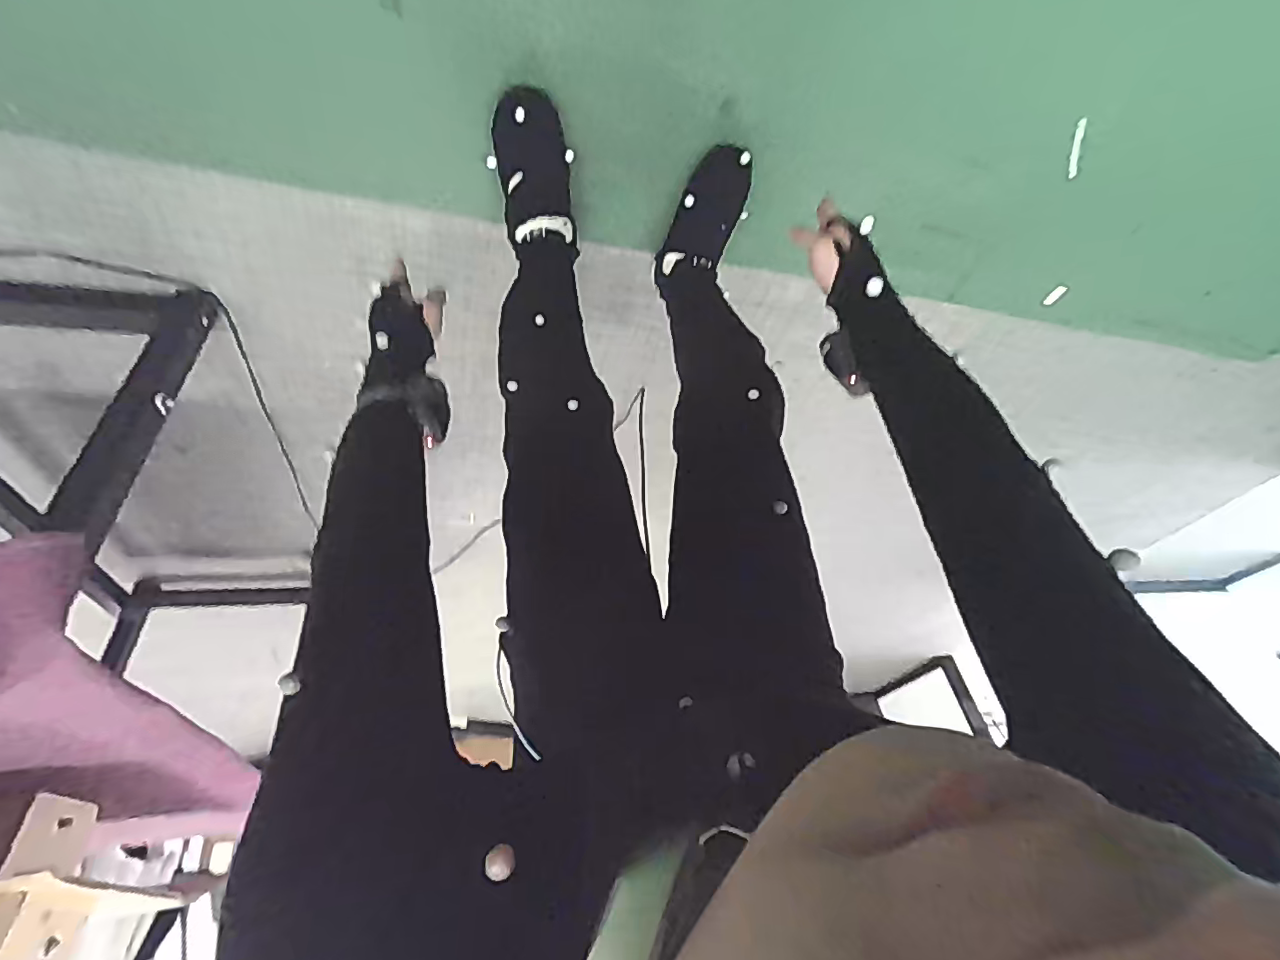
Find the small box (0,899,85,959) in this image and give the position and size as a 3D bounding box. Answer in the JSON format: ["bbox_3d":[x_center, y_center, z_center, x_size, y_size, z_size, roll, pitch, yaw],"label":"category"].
[{"bbox_3d":[-0.850,0.631,0.650,0.179,0.176,0.168,0,139,-15],"label":"small box"}]
